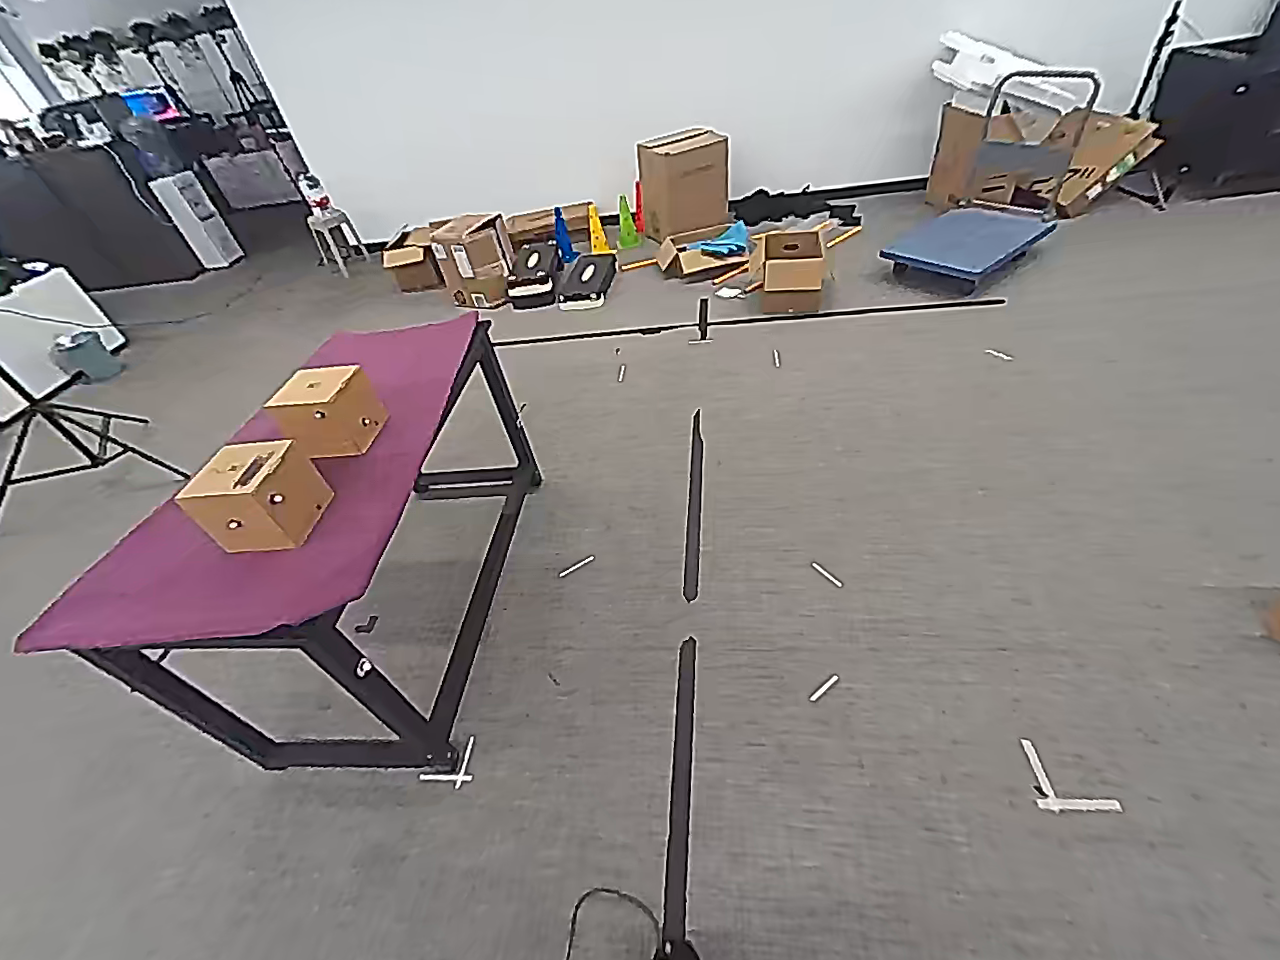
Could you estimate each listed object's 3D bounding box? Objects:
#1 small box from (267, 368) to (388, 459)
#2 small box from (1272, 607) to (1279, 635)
[{"bbox_3d":[-0.789,-0.166,1.386,0.179,0.176,0.168,-3,43,8],"label":"small box"},{"bbox_3d":[1.773,0.377,1.357,0.179,0.176,0.168,-1,43,11],"label":"small box"}]
